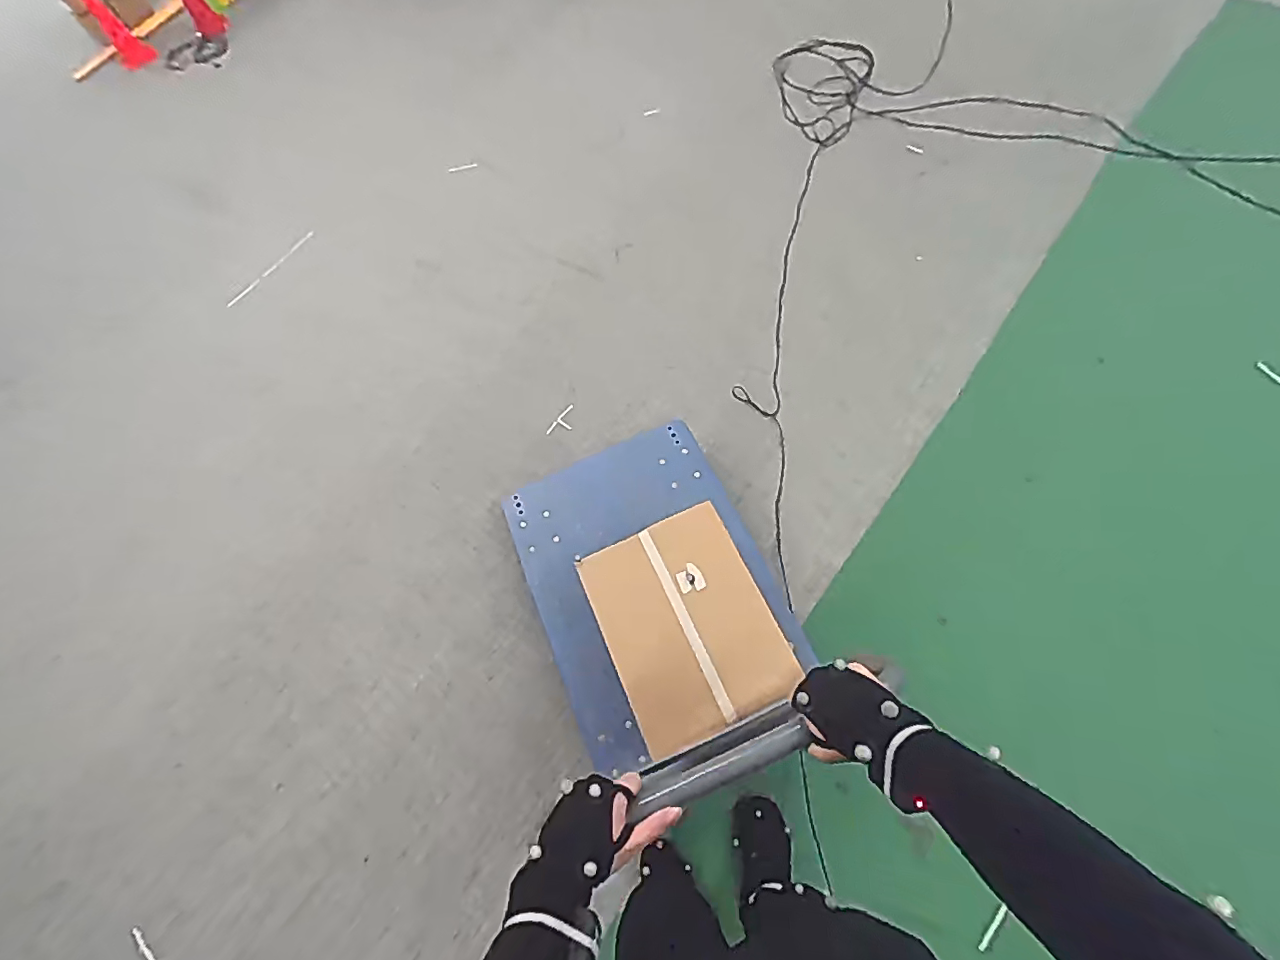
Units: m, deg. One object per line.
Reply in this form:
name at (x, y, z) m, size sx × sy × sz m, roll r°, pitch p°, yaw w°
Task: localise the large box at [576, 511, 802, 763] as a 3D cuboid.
large box at (0.104, 0.349, 1.194) m, size 0.320 × 0.320 × 0.408 m, roll -24°, pitch 64°, yaw -3°
